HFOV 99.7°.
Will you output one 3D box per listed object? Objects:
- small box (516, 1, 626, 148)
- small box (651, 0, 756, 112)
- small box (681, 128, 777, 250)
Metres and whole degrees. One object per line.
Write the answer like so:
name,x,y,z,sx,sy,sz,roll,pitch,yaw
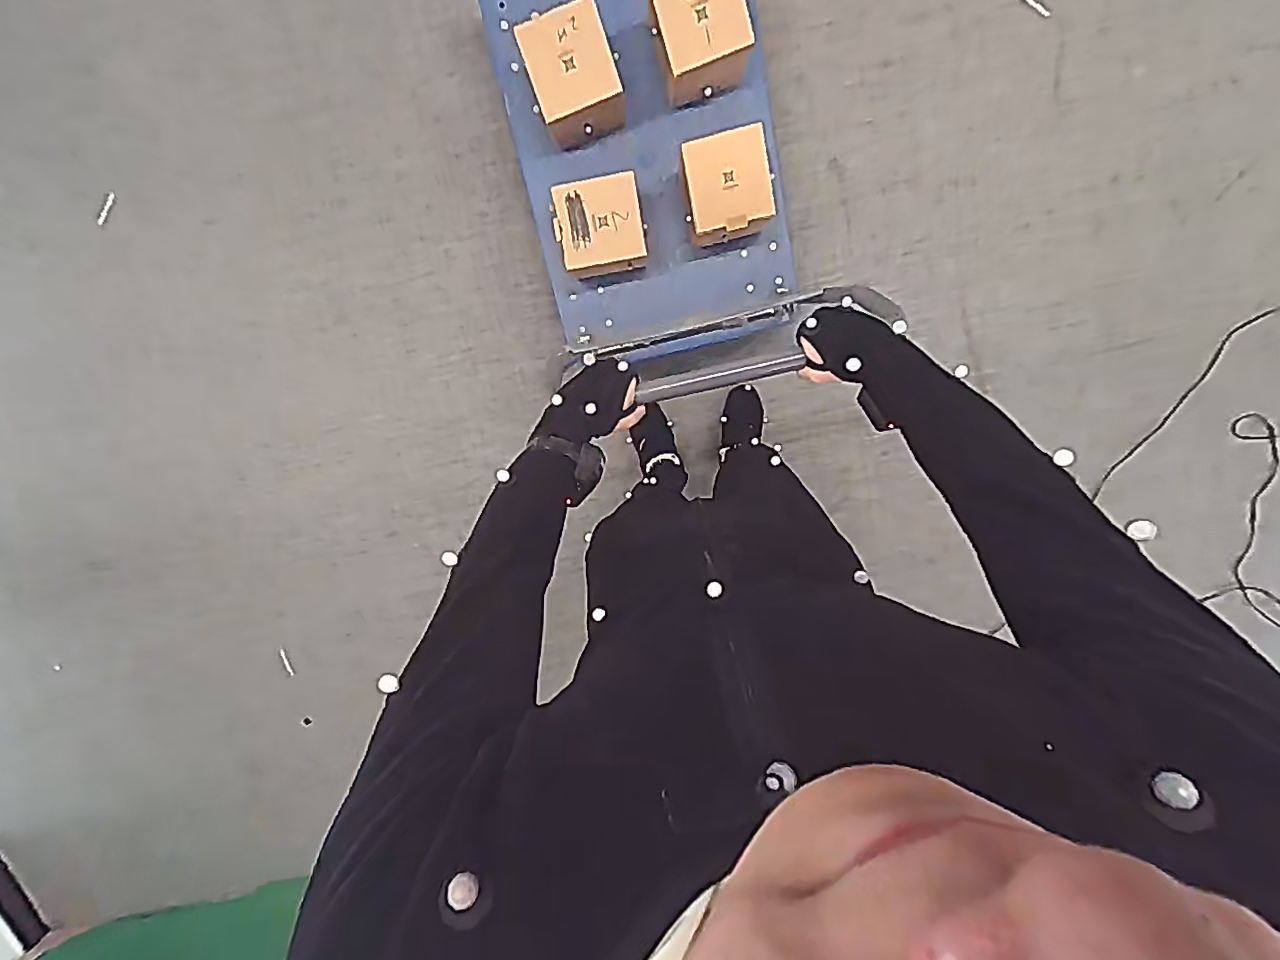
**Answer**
small box,-0.133,-0.824,1.127,0.168,0.176,0.179,-19,103,5
small box,0.121,-0.900,1.101,0.168,0.176,0.179,-18,104,7
small box,0.186,-0.620,1.173,0.168,0.176,0.179,-13,104,5
